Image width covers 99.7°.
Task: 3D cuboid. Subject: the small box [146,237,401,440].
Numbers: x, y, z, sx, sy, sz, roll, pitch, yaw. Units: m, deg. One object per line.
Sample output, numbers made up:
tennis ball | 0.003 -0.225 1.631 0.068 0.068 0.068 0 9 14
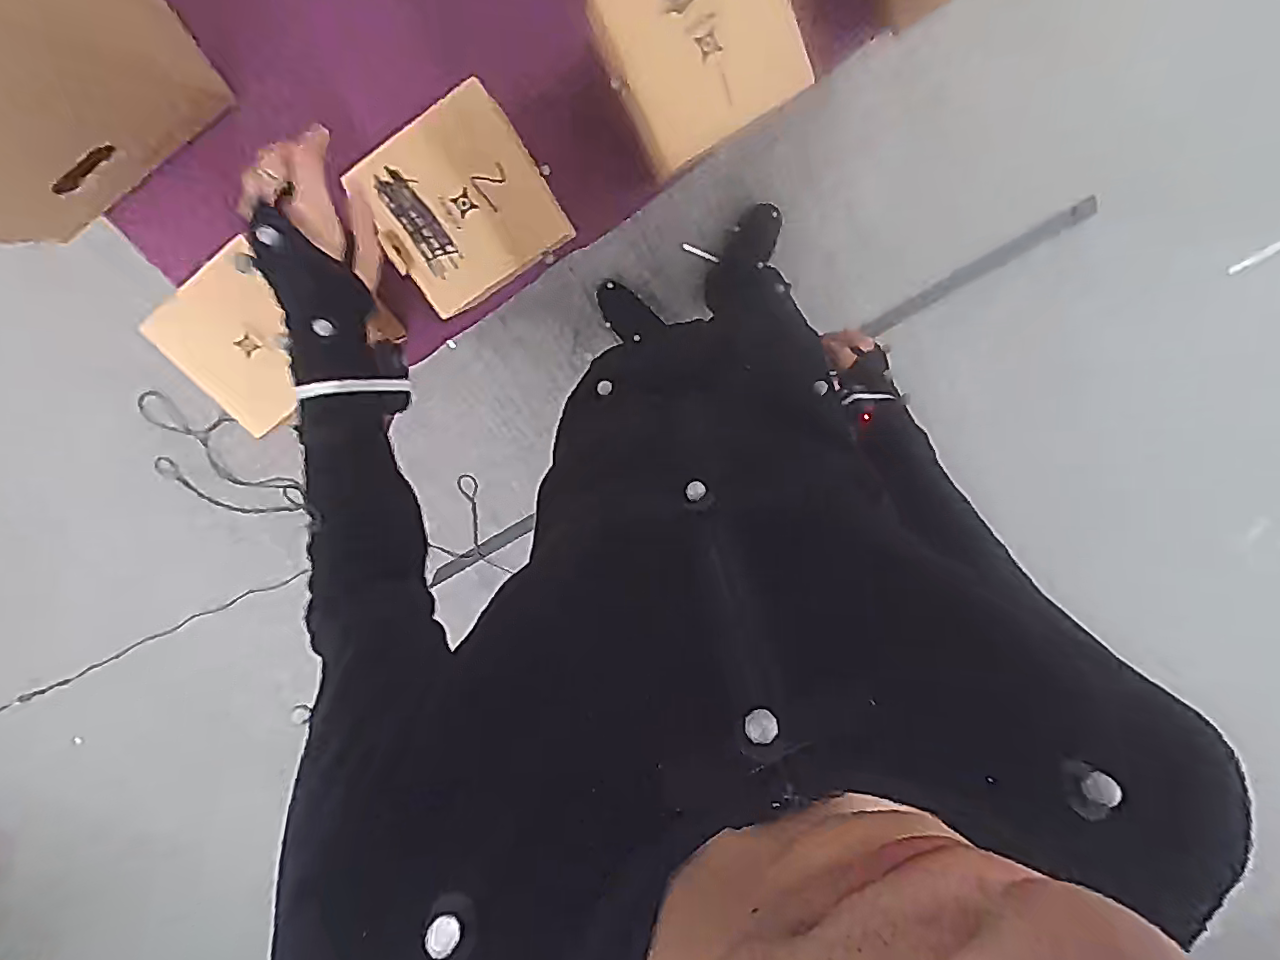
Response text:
small box | -0.445 -0.184 0.691 0.179 0.176 0.168 -34 112 10

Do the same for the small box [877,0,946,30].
small box | 0.326 -0.610 0.537 0.168 0.176 0.179 -33 112 13

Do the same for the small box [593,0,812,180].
small box | 0.057 -0.460 0.593 0.168 0.176 0.179 -28 114 10
